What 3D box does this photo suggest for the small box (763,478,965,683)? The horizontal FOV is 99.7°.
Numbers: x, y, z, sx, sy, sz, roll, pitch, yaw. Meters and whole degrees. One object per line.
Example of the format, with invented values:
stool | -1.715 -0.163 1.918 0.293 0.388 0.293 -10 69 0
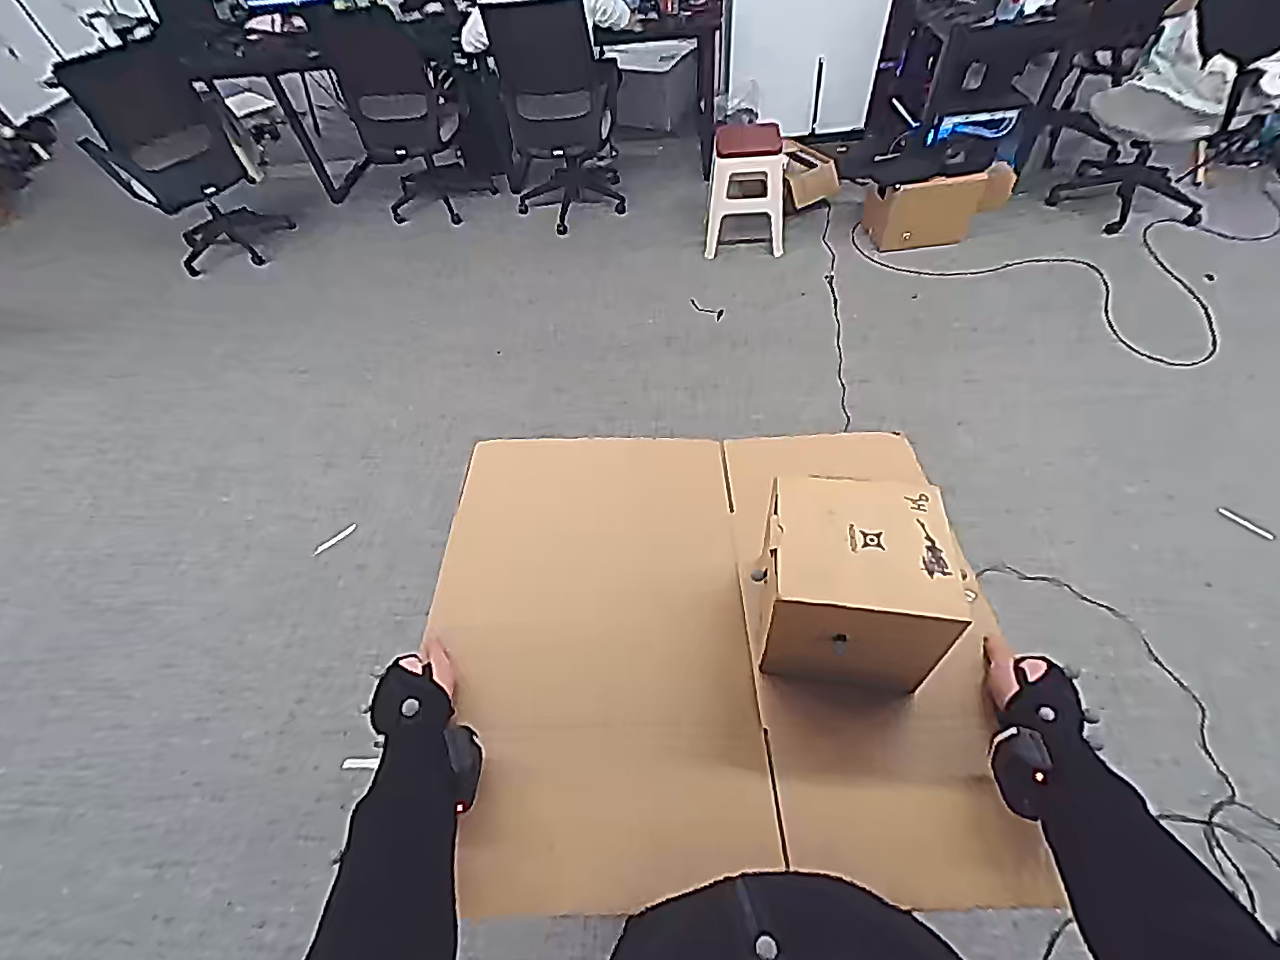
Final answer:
small box | 0.235 0.116 0.619 0.179 0.176 0.168 4 49 10
